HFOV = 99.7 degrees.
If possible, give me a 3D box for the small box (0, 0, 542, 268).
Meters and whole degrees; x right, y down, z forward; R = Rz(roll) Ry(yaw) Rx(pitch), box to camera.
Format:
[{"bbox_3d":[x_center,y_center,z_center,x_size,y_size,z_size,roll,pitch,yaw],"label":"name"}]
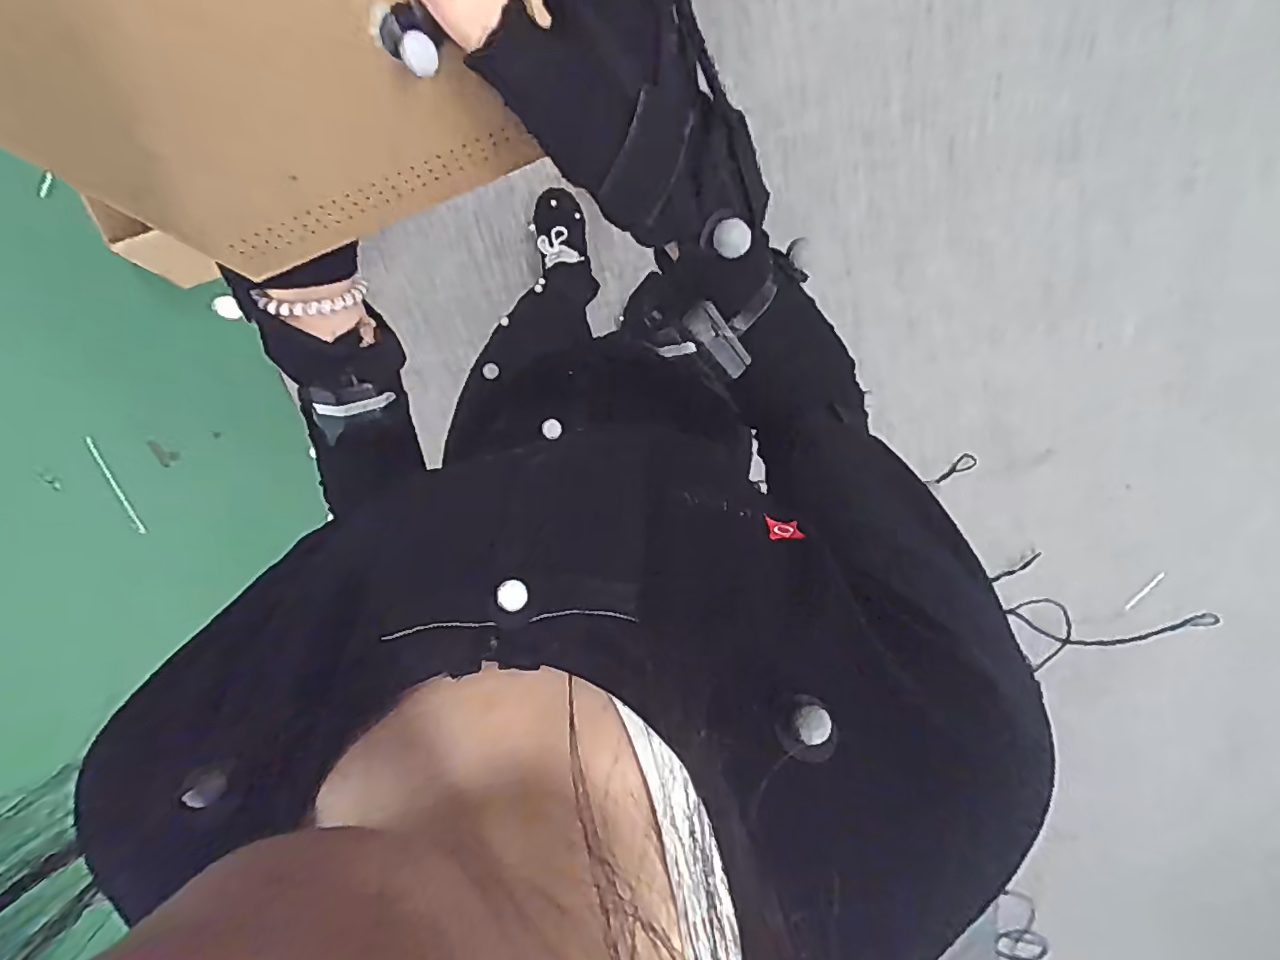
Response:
[{"bbox_3d":[-0.149,-0.213,0.202,0.179,0.176,0.168,-23,88,1],"label":"small box"}]
